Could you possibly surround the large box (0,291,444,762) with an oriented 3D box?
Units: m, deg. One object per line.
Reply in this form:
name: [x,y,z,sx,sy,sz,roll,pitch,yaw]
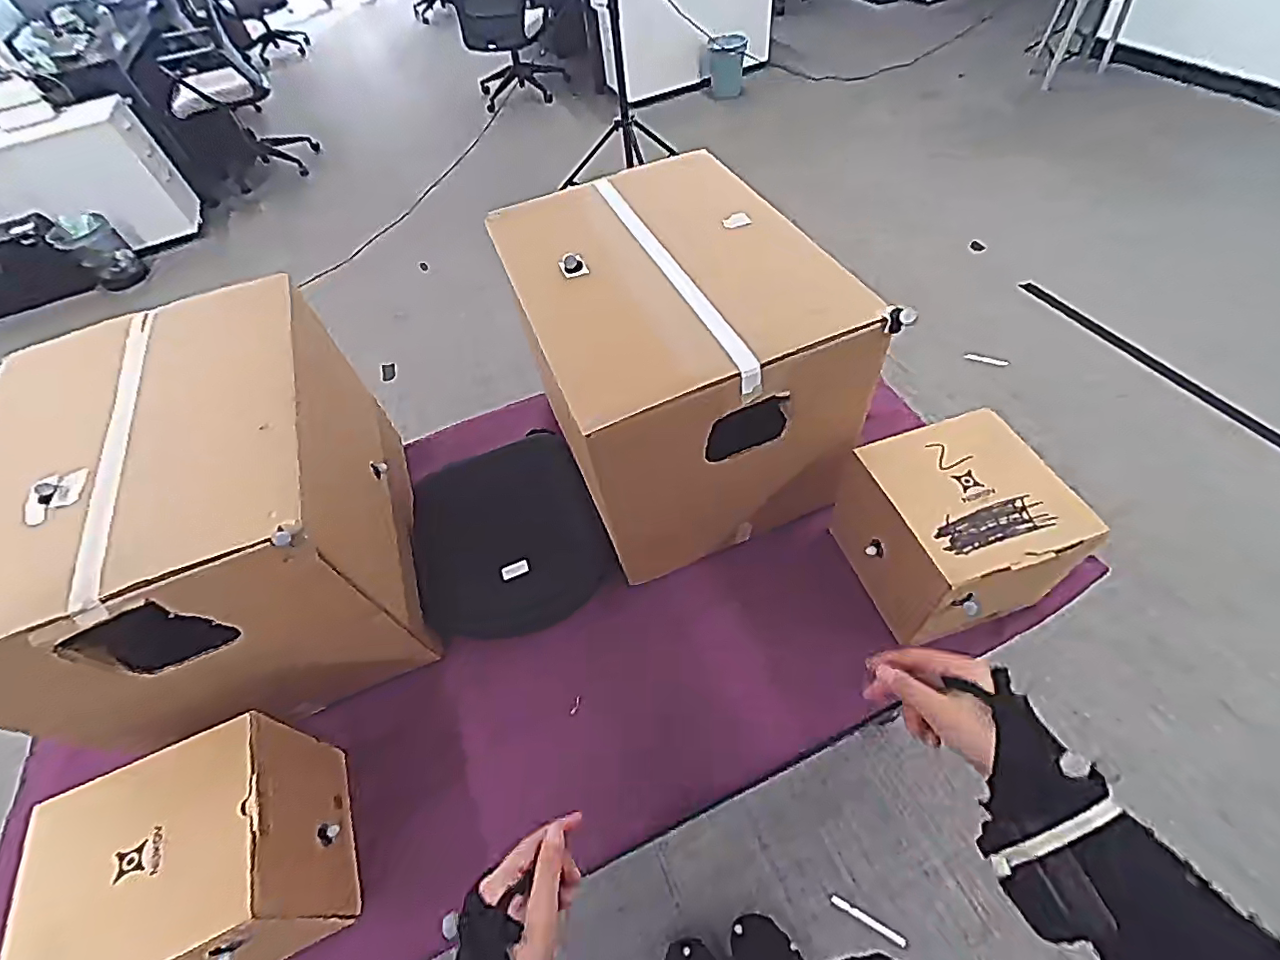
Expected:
large box: [-0.474,0.052,0.649,0.320,0.320,0.408,-23,57,-9]
